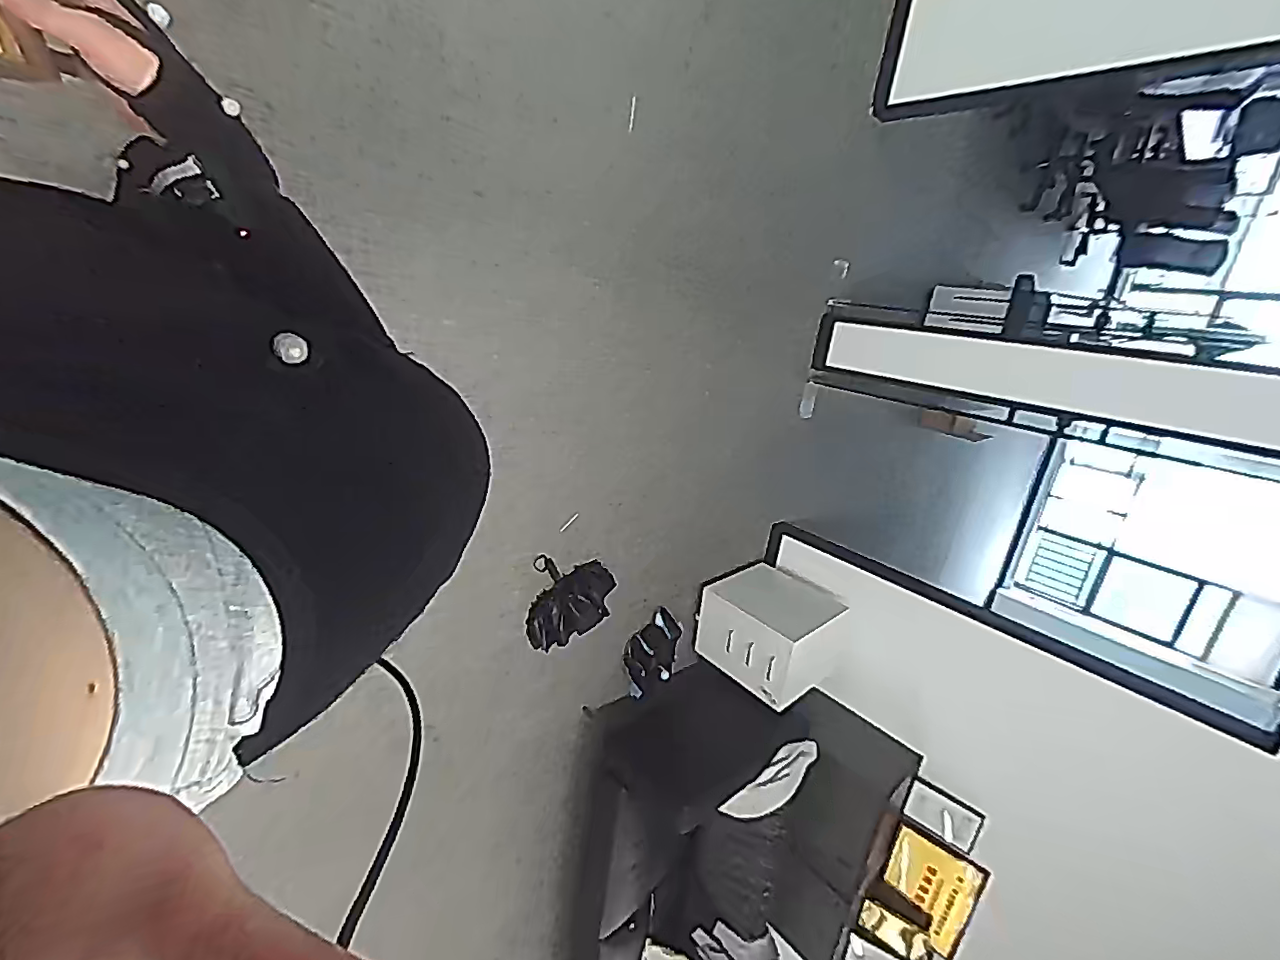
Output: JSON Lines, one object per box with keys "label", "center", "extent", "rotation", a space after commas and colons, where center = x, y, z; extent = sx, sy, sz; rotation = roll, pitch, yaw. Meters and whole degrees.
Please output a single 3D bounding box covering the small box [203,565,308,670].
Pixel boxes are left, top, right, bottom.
{"label": "small box", "center": [-0.985, 0.339, 1.384], "extent": [0.168, 0.176, 0.179], "rotation": [-23, 125, -34]}
